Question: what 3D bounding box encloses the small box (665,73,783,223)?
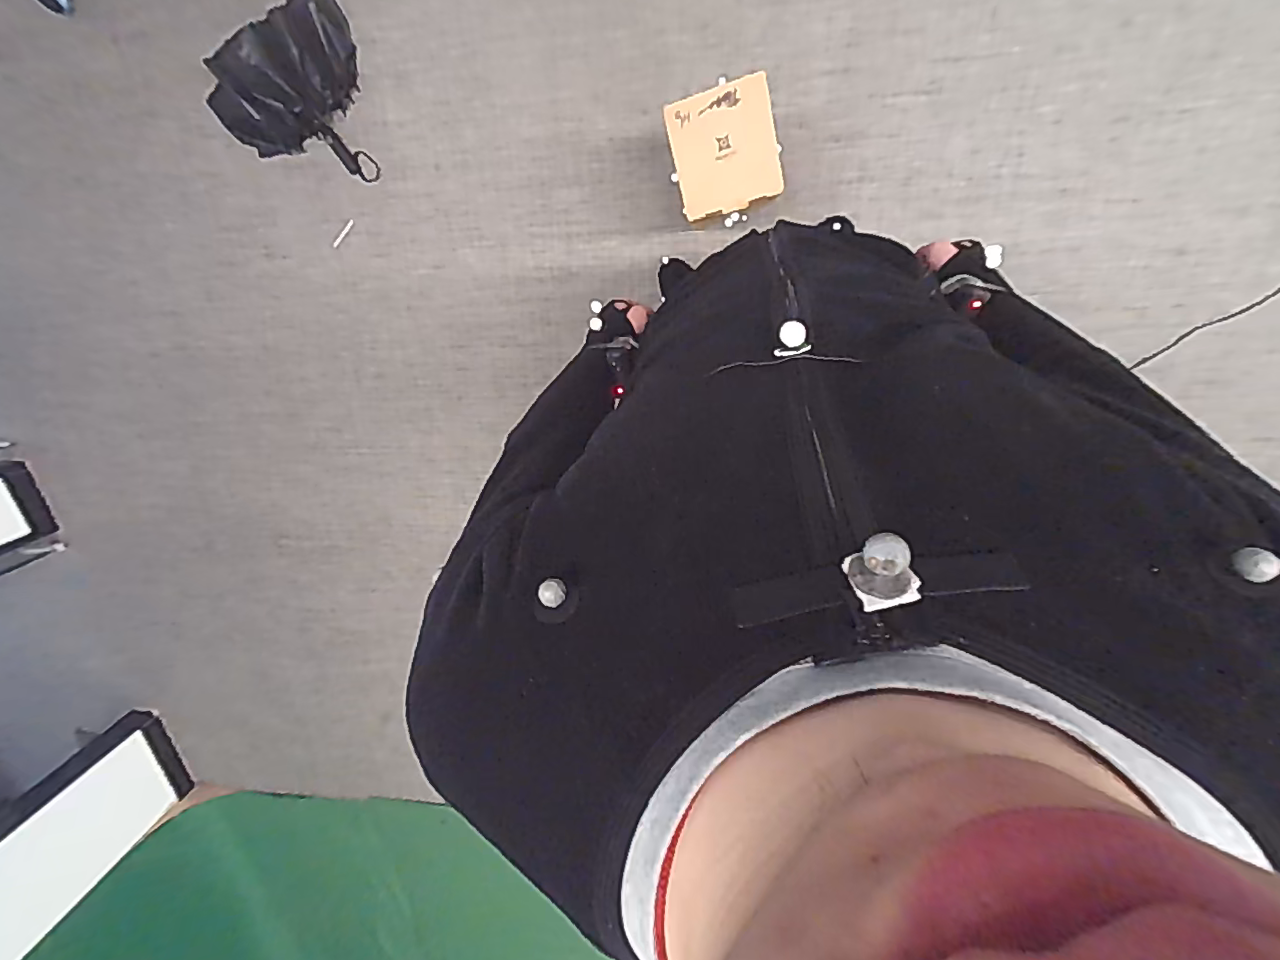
[{"bbox_3d":[0.150,-0.564,0.943,0.168,0.176,0.179,-11,112,14],"label":"small box"}]
